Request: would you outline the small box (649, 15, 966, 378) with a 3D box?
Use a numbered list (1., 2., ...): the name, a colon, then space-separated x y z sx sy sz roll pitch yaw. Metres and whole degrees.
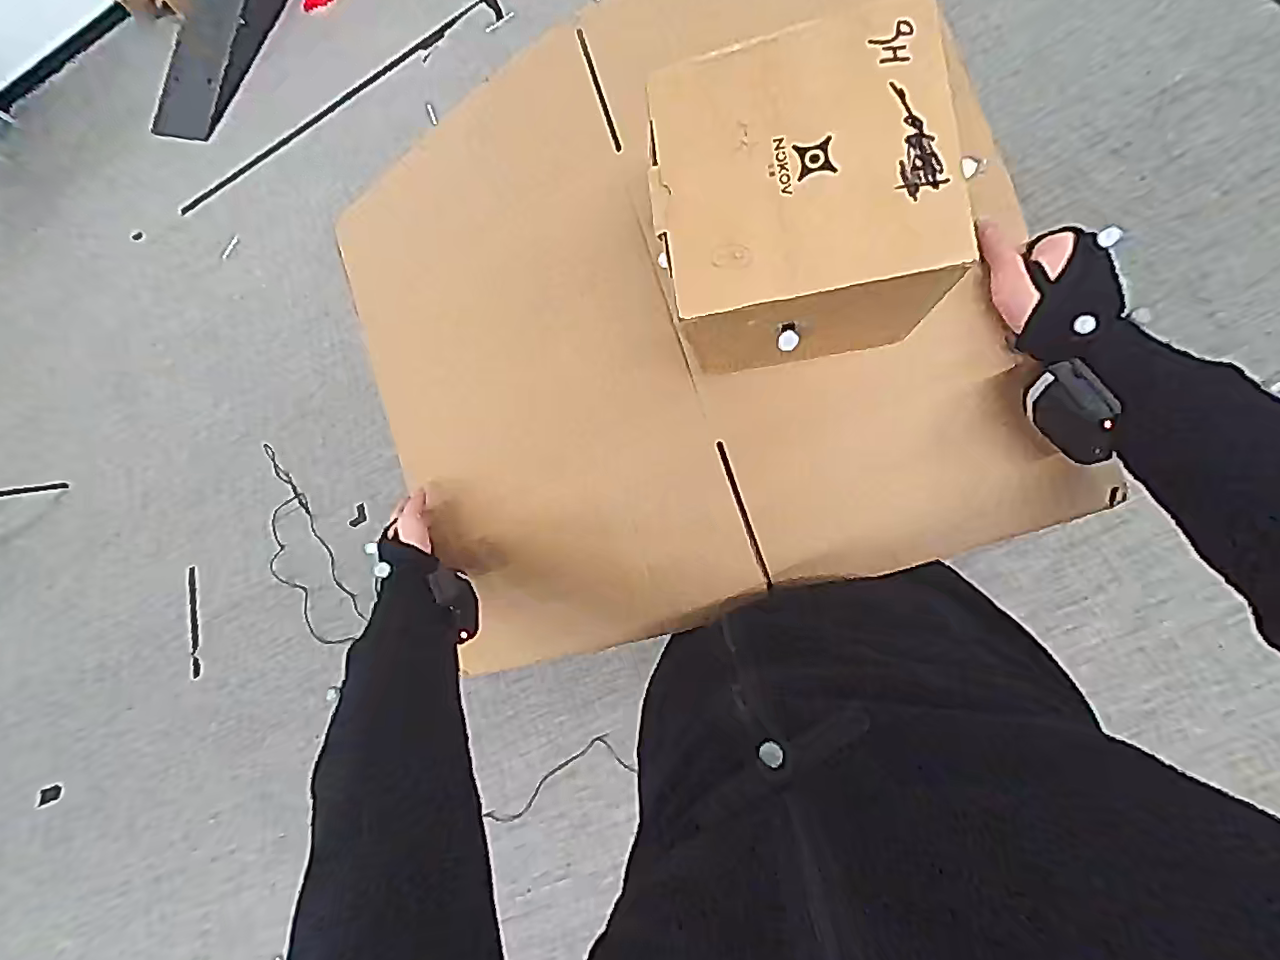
1. small box: 0.118 -0.186 0.418 0.179 0.176 0.168 -8 87 13
